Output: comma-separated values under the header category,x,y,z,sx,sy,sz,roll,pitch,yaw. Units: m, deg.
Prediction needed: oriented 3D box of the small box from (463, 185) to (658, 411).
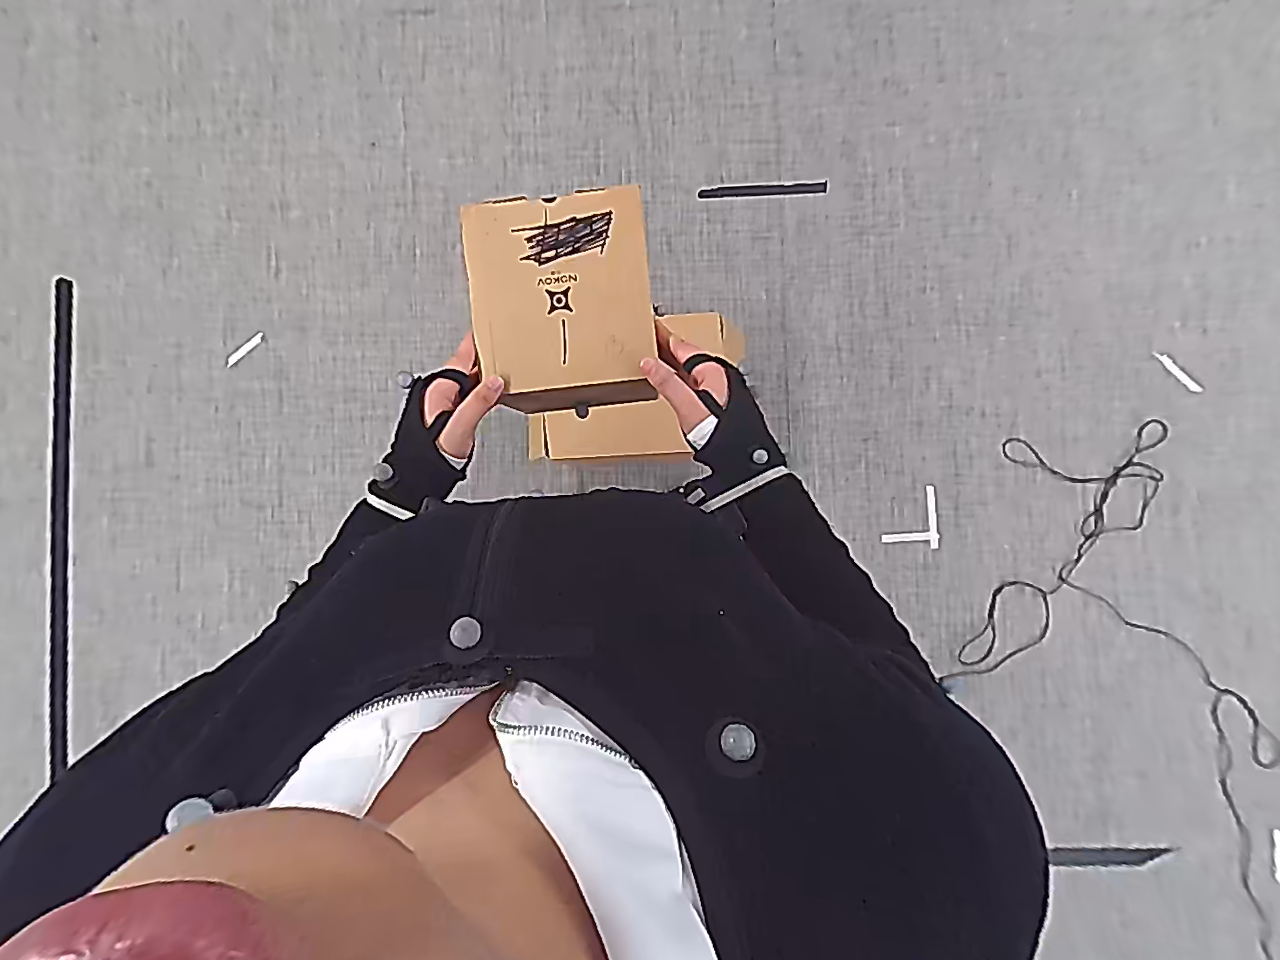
category,x,y,z,sx,sy,sz,roll,pitch,yaw
small box,-0.071,-0.175,0.570,0.168,0.176,0.179,-6,92,2
